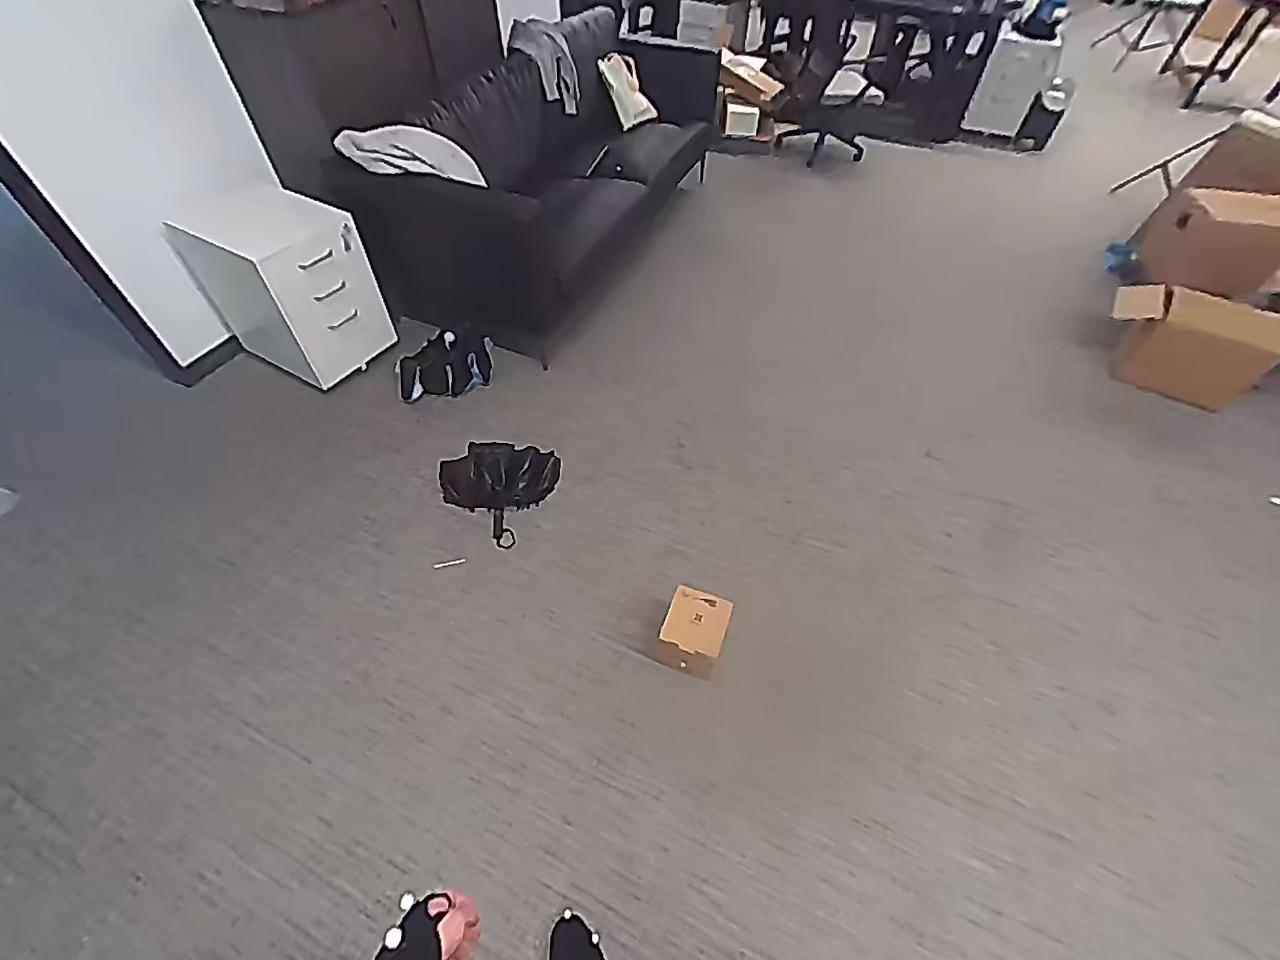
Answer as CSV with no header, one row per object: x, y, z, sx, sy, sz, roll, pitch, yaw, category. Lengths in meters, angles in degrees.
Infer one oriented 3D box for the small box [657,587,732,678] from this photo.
0.153,0.441,1.547,0.168,0.176,0.179,17,53,12,small box
